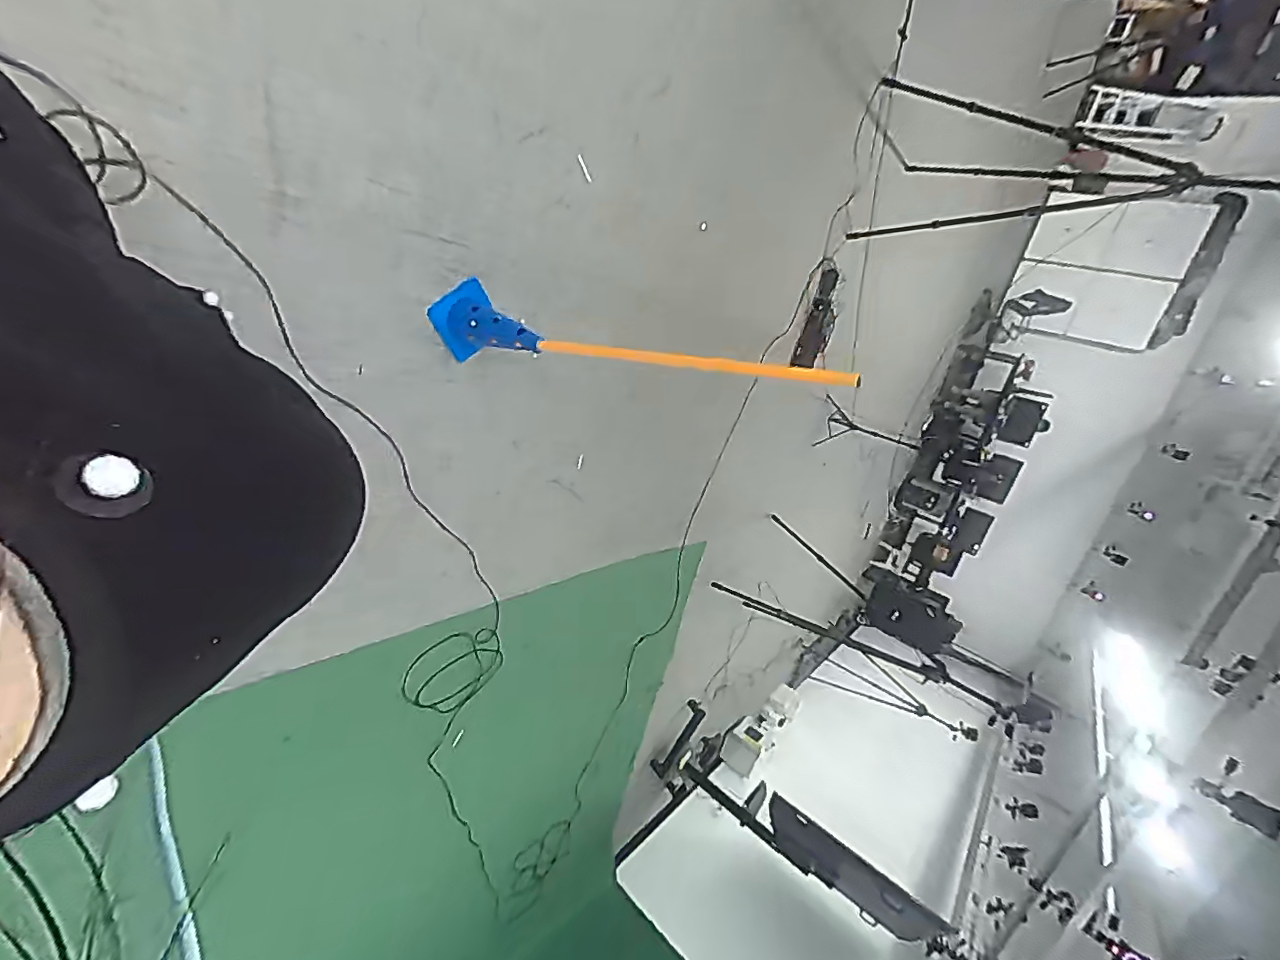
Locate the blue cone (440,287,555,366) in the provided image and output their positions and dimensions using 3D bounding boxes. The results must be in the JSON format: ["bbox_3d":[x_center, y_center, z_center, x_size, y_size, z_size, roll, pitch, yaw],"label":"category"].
[{"bbox_3d":[-0.384,-0.413,1.562,0.193,0.380,0.192,-51,143,-20],"label":"blue cone"}]
